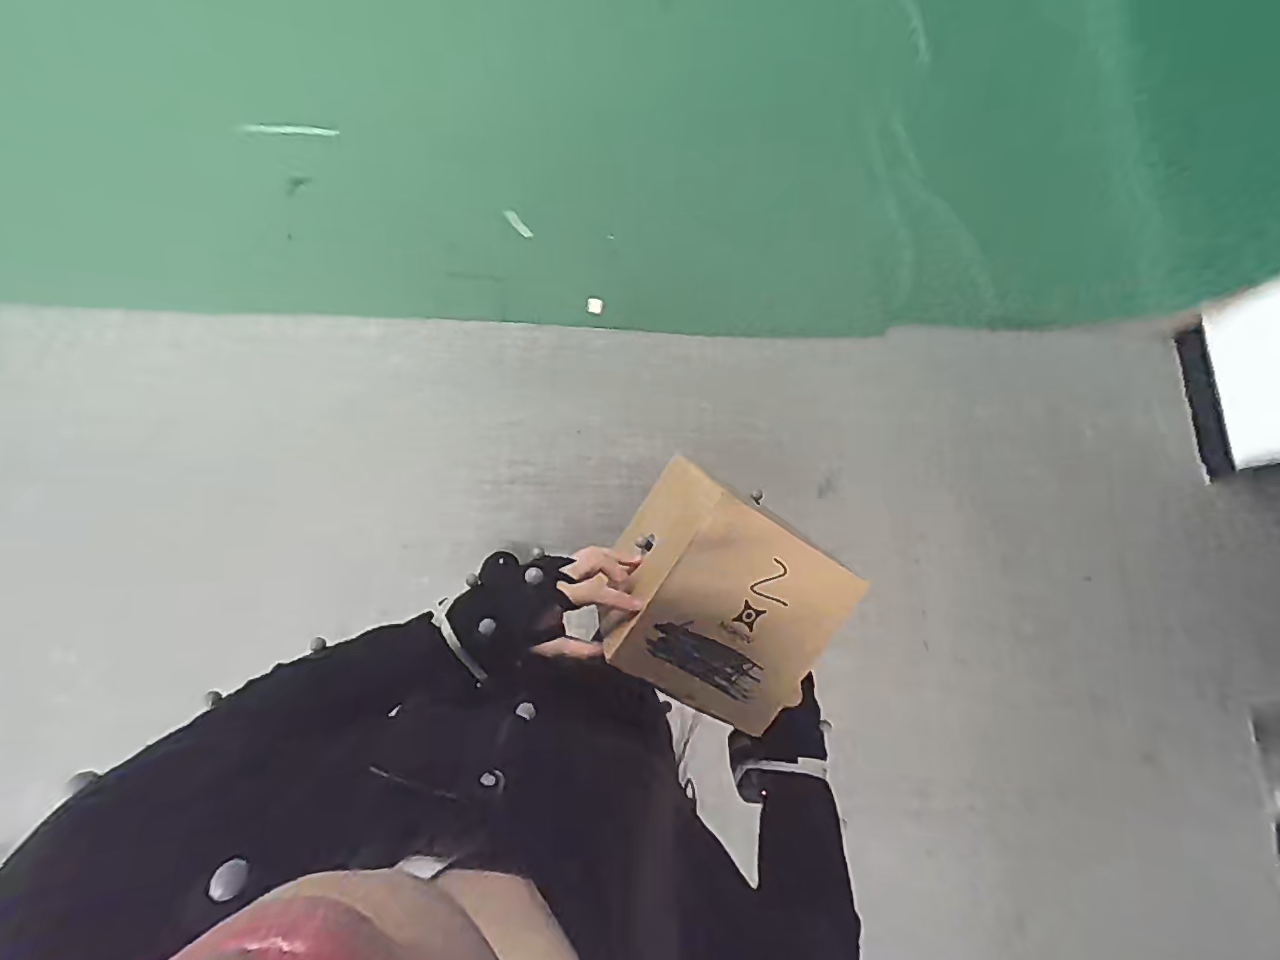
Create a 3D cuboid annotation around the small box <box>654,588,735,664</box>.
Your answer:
[{"bbox_3d":[0.138,0.376,1.413,0.179,0.176,0.168,8,78,0],"label":"small box"}]
